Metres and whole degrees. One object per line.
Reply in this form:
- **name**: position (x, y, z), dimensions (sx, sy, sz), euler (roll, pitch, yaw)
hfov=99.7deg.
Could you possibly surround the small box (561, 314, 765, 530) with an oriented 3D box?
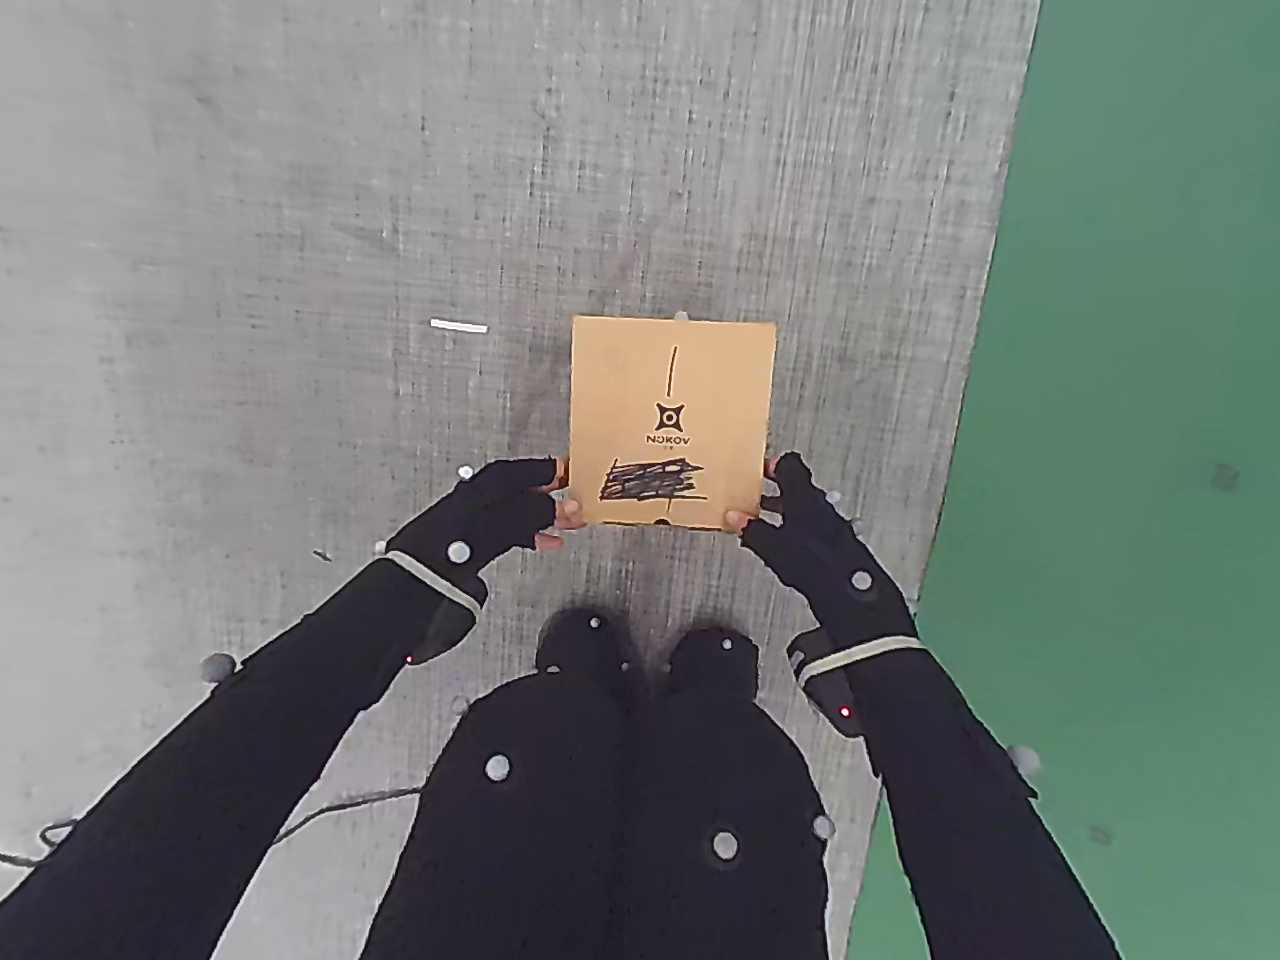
- **small box**: position (0.022, -0.063, 0.532), dimensions (0.168, 0.176, 0.179), euler (4, 102, 4)
